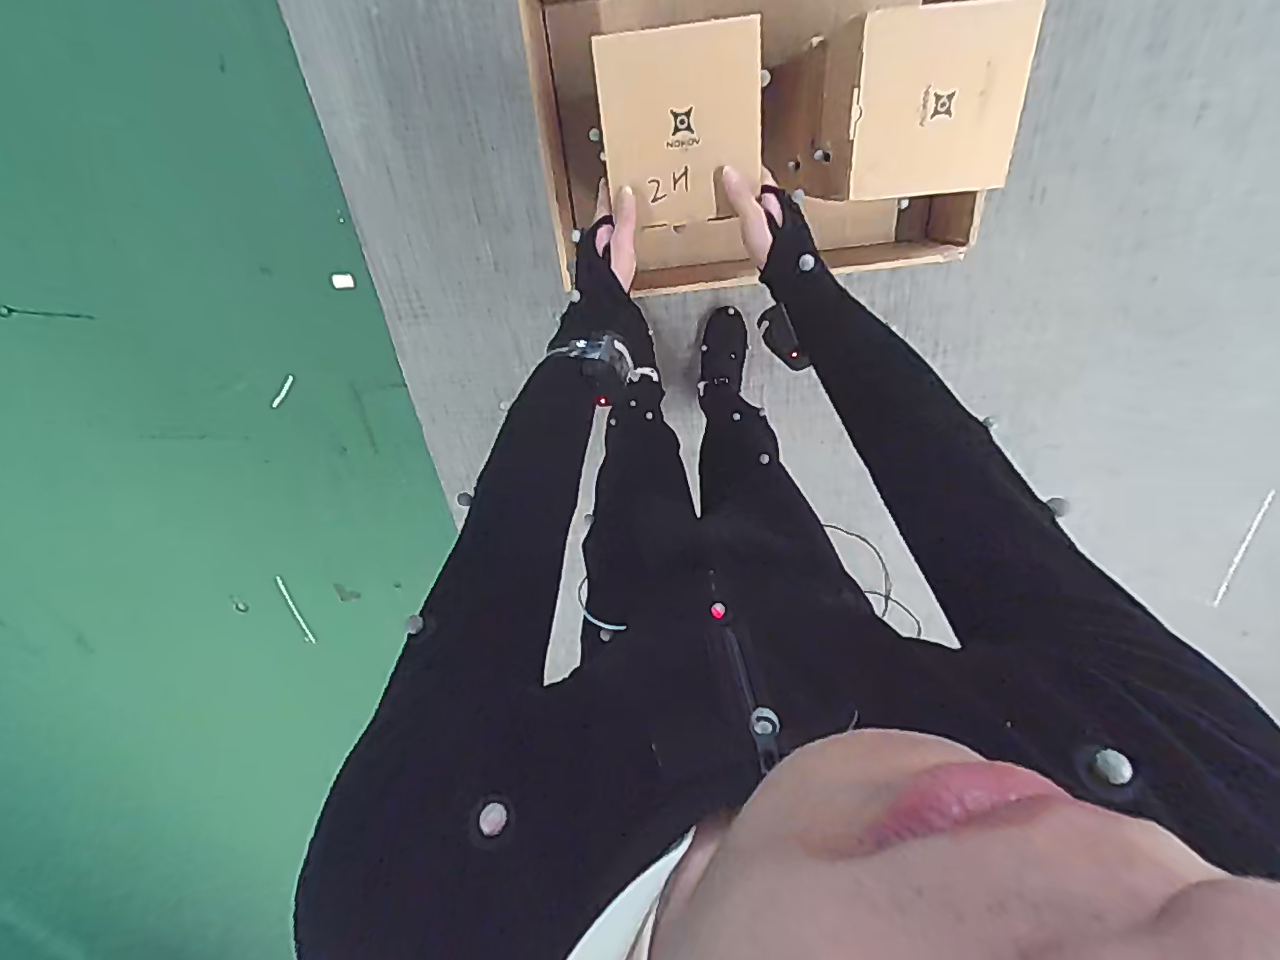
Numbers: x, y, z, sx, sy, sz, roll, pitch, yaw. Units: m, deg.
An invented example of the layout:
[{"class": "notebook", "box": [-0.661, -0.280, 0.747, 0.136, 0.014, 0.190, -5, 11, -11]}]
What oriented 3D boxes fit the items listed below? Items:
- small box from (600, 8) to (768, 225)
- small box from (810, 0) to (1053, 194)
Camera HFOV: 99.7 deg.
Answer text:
[{"class": "small box", "box": [0.046, -0.399, 0.621, 0.168, 0.176, 0.179, -5, 119, 2]}, {"class": "small box", "box": [0.307, -0.426, 0.616, 0.179, 0.176, 0.168, -5, 121, 0]}]
